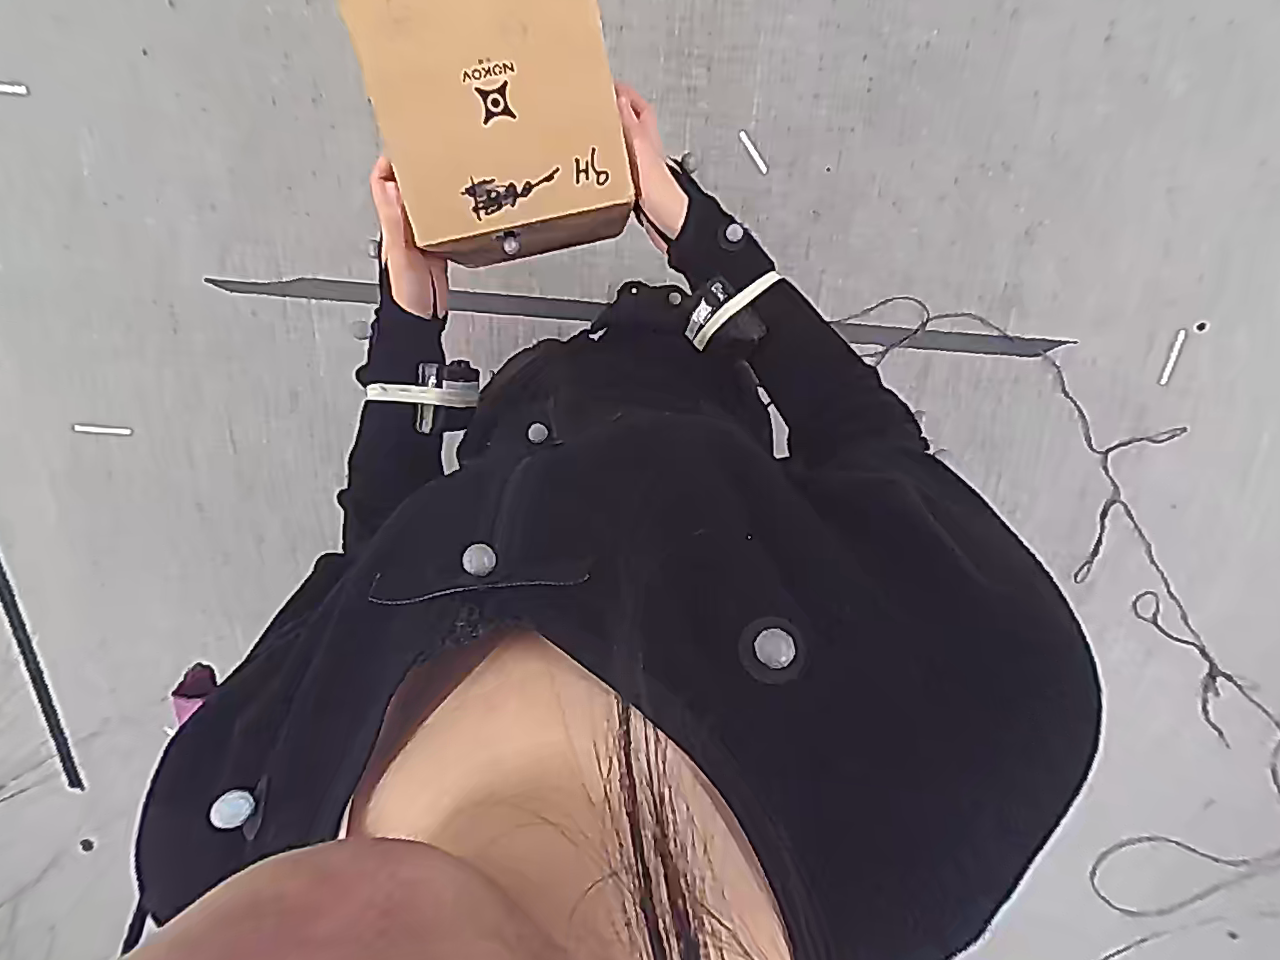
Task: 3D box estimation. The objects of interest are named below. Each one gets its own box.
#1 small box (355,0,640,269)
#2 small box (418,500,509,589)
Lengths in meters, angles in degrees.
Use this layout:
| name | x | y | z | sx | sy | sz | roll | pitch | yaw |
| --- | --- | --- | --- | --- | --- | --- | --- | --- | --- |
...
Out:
| name | x | y | z | sx | sy | sz | roll | pitch | yaw |
| --- | --- | --- | --- | --- | --- | --- | --- | --- | --- |
| small box | -0.103 | -0.288 | 0.449 | 0.168 | 0.176 | 0.179 | -12 | 107 | -2 |
| small box | -0.485 | 0.173 | 1.507 | 0.179 | 0.176 | 0.168 | 19 | 107 | -7 |
